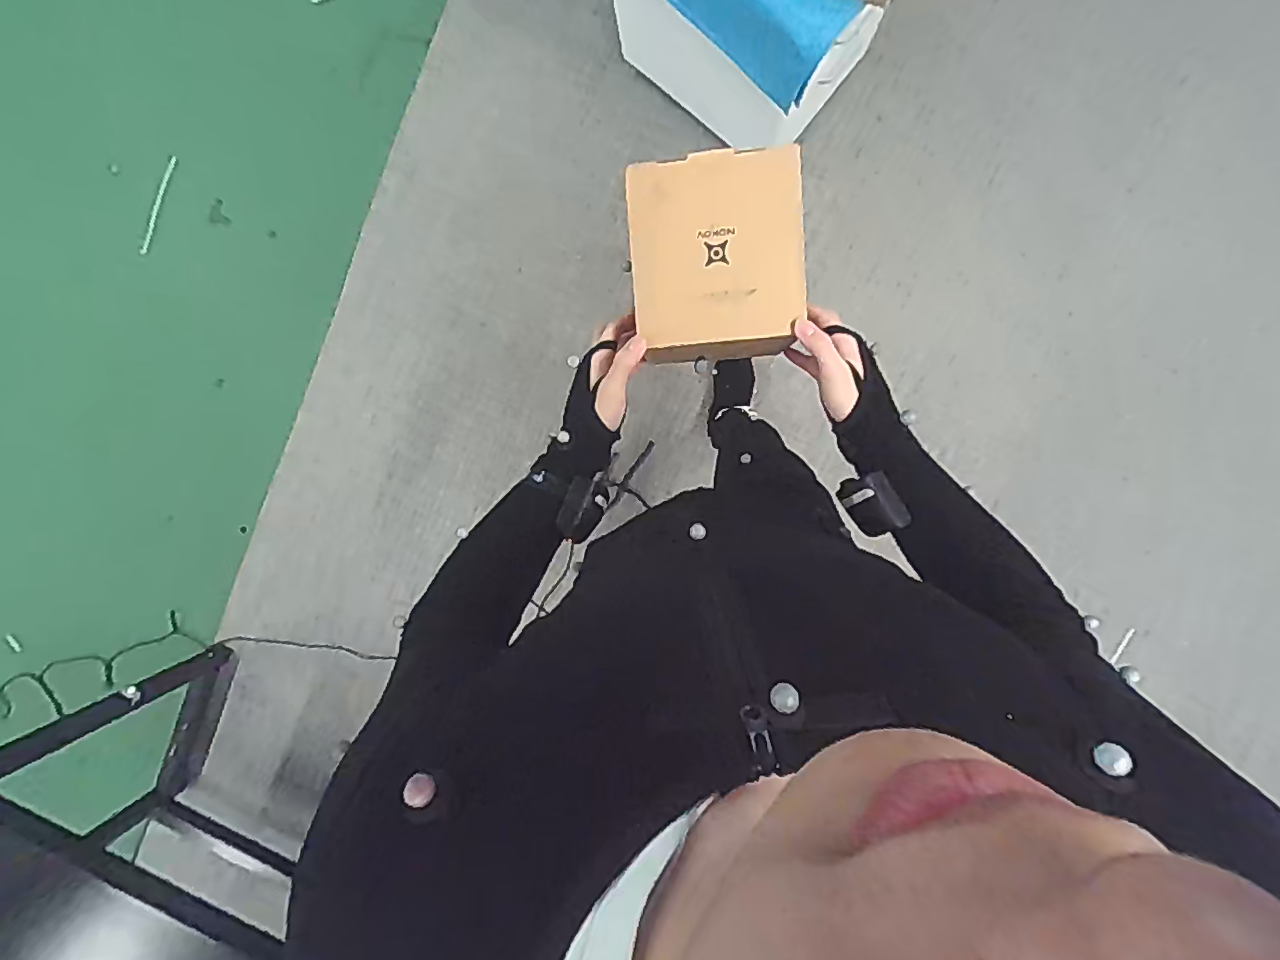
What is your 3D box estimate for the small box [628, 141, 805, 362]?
[{"bbox_3d":[0.078,-0.232,0.592,0.168,0.176,0.179,-3,96,5],"label":"small box"}]
